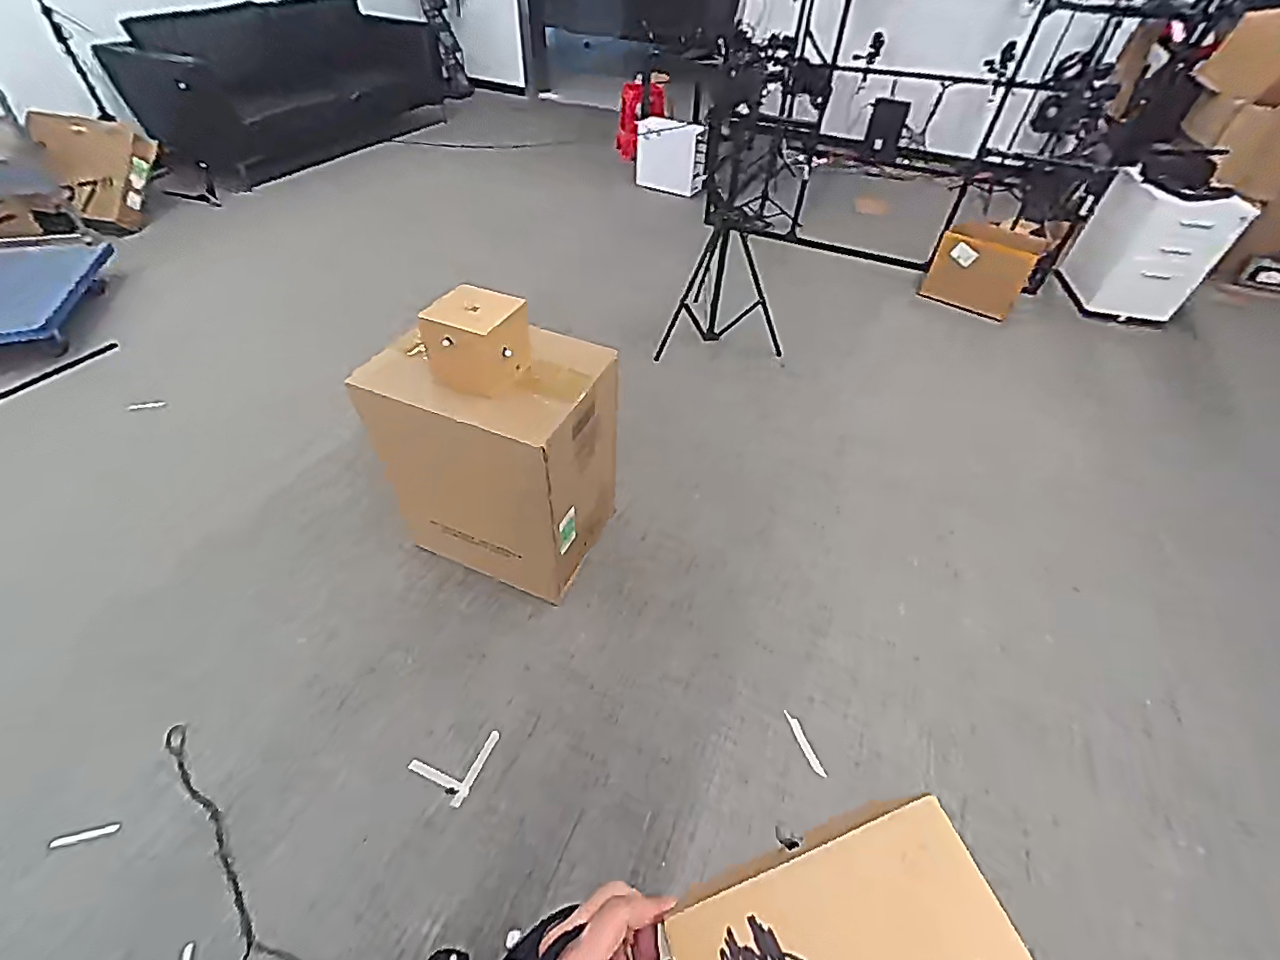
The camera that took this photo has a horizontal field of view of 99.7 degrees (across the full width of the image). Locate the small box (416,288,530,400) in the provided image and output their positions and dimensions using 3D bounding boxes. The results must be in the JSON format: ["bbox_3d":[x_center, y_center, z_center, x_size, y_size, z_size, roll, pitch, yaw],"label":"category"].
[{"bbox_3d":[-0.367,-0.306,1.229,0.179,0.176,0.168,18,48,15],"label":"small box"}]
